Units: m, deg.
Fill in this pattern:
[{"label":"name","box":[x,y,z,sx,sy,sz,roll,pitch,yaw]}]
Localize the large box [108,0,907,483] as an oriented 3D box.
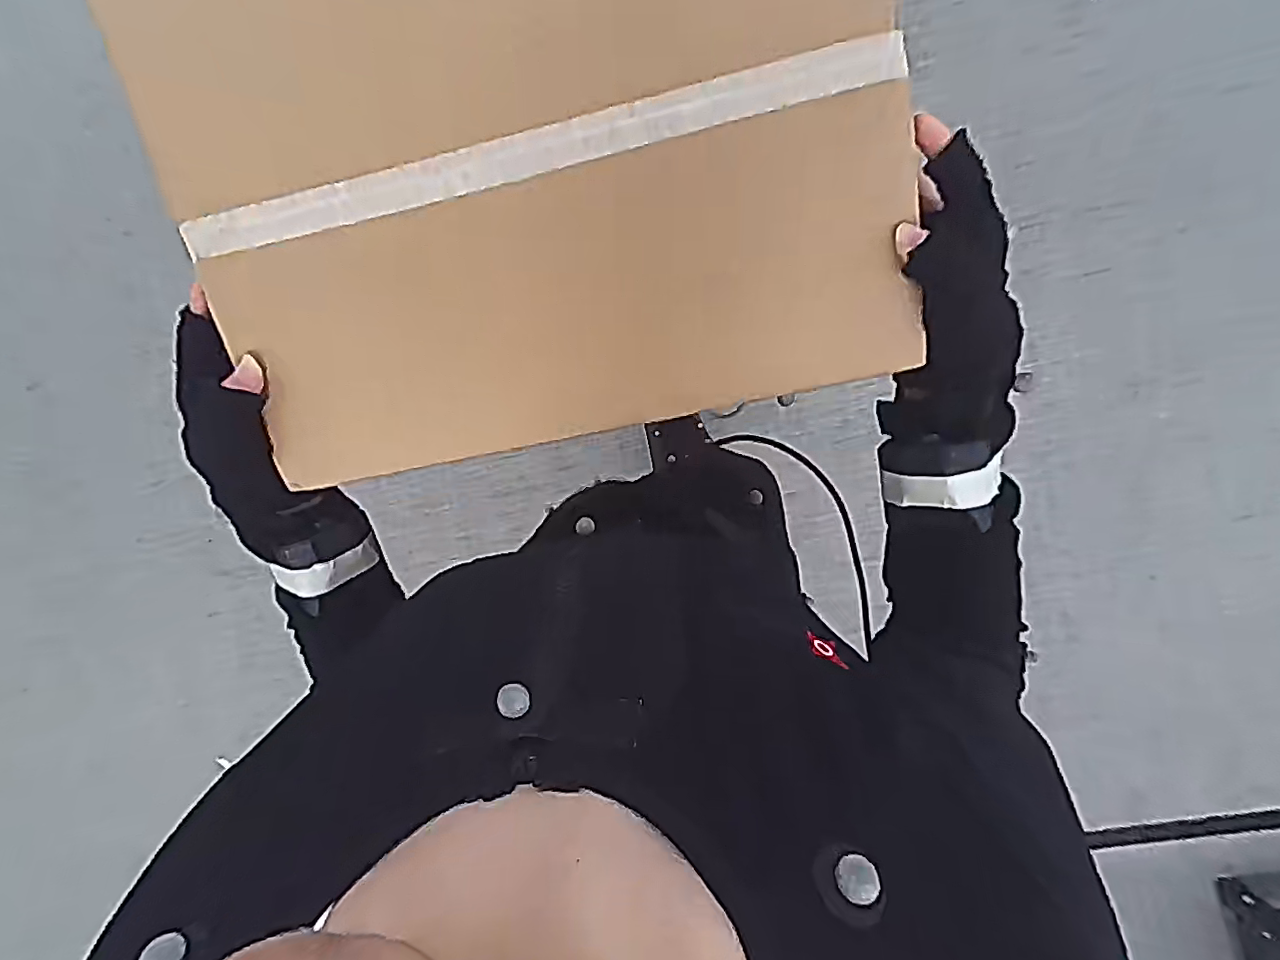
[{"label":"large box","box":[-0.057,-0.223,0.445,0.408,0.320,0.320,-11,105,7]}]
